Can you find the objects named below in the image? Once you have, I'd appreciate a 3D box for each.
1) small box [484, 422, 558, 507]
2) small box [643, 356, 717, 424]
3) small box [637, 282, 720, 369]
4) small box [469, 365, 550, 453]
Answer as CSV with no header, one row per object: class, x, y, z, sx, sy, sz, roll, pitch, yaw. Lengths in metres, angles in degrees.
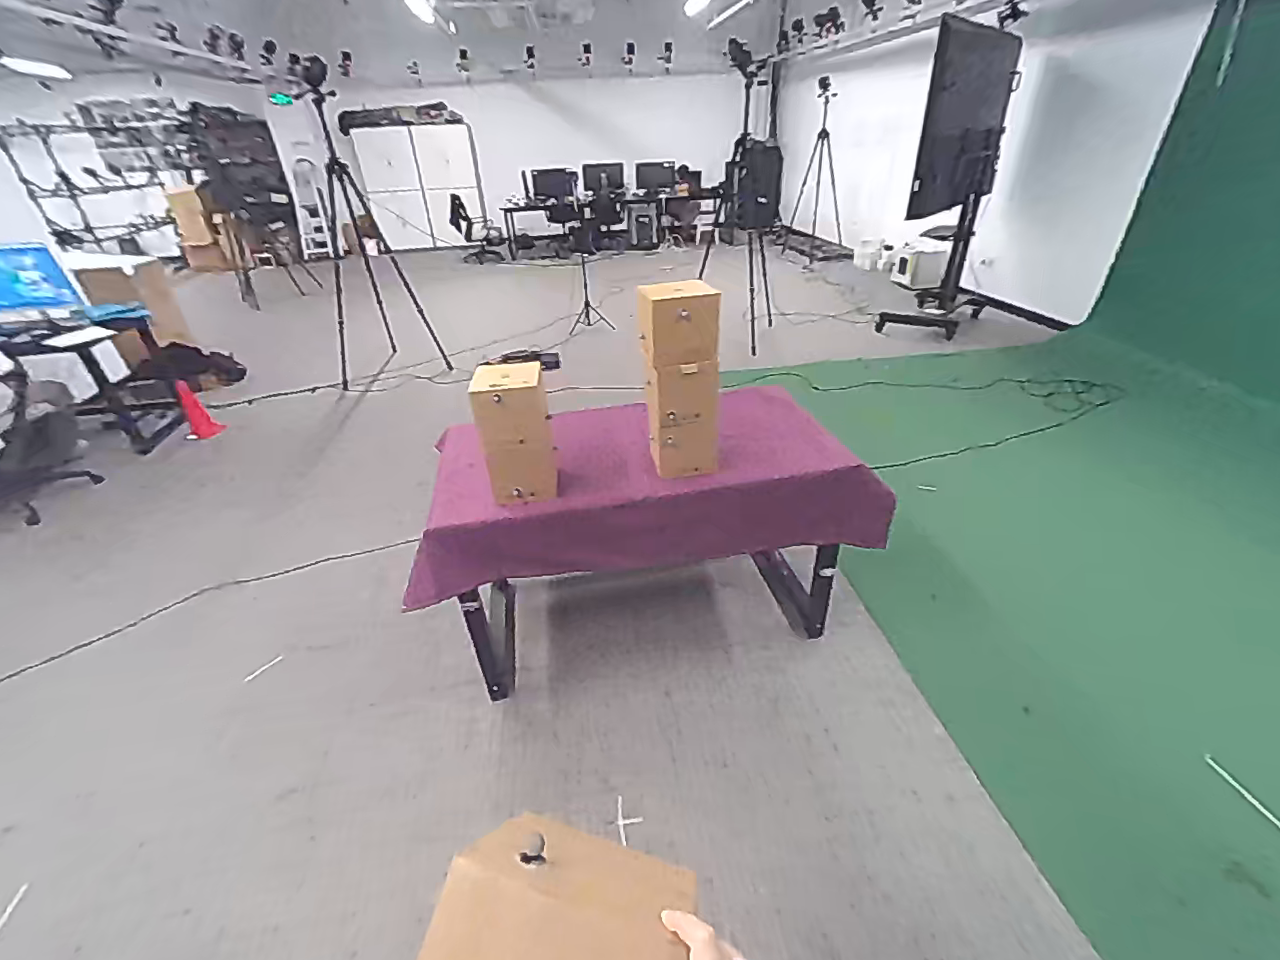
small box,-0.319,-0.045,1.488,0.168,0.176,0.179,-6,33,-3
small box,0.109,-0.259,1.475,0.168,0.176,0.179,-9,31,-8
small box,0.096,-0.398,1.390,0.179,0.176,0.168,-10,32,-9
small box,-0.329,-0.185,1.401,0.168,0.176,0.179,-7,31,-3
